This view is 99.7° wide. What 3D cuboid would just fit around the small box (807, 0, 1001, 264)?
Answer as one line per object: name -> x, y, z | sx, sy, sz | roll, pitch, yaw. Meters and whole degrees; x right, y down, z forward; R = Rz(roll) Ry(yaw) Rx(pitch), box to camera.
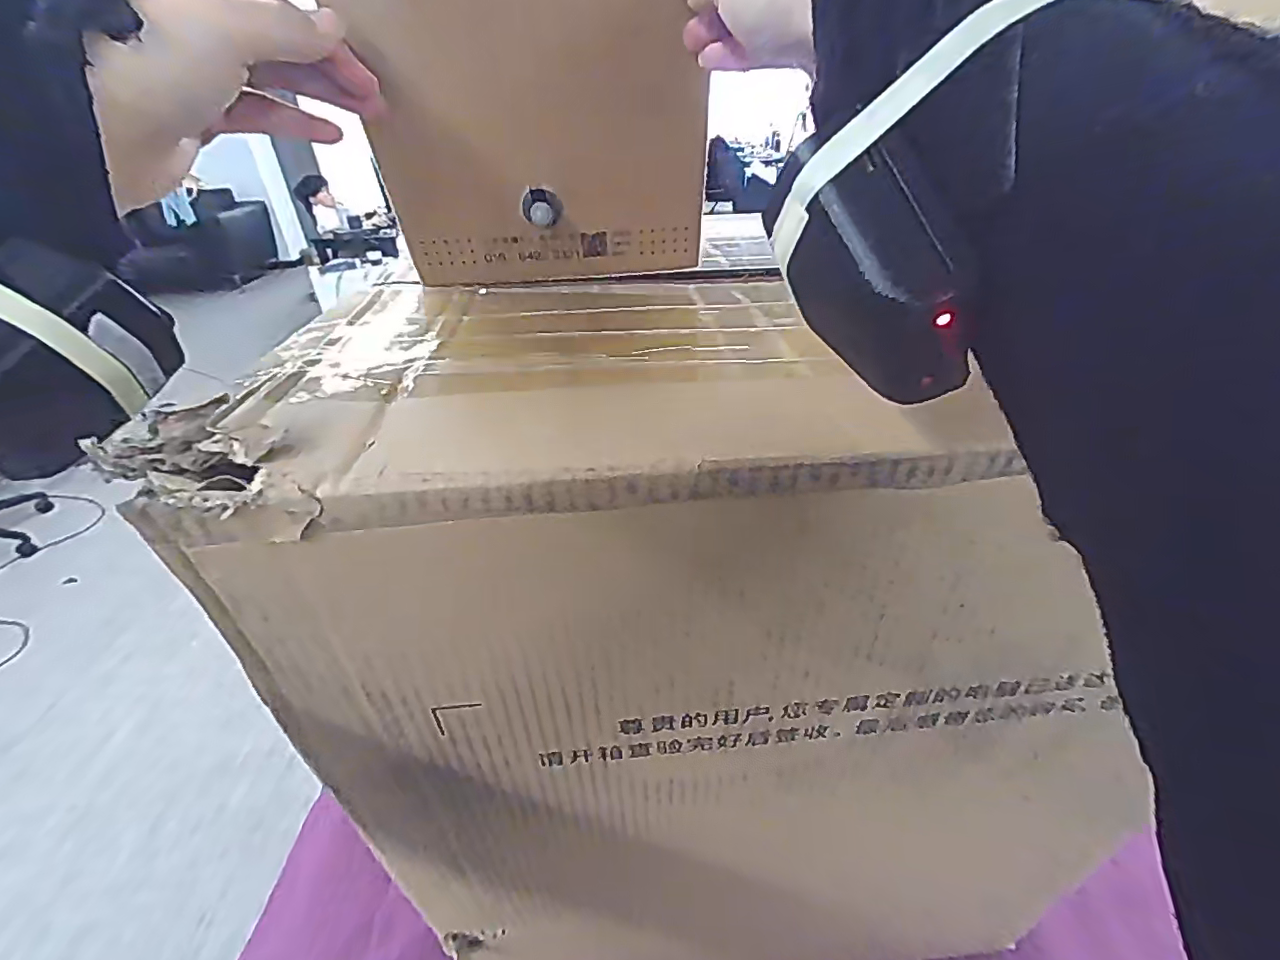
small box -> 0.230, -0.259, 0.386 | 0.168, 0.176, 0.179 | -3, 35, 0
